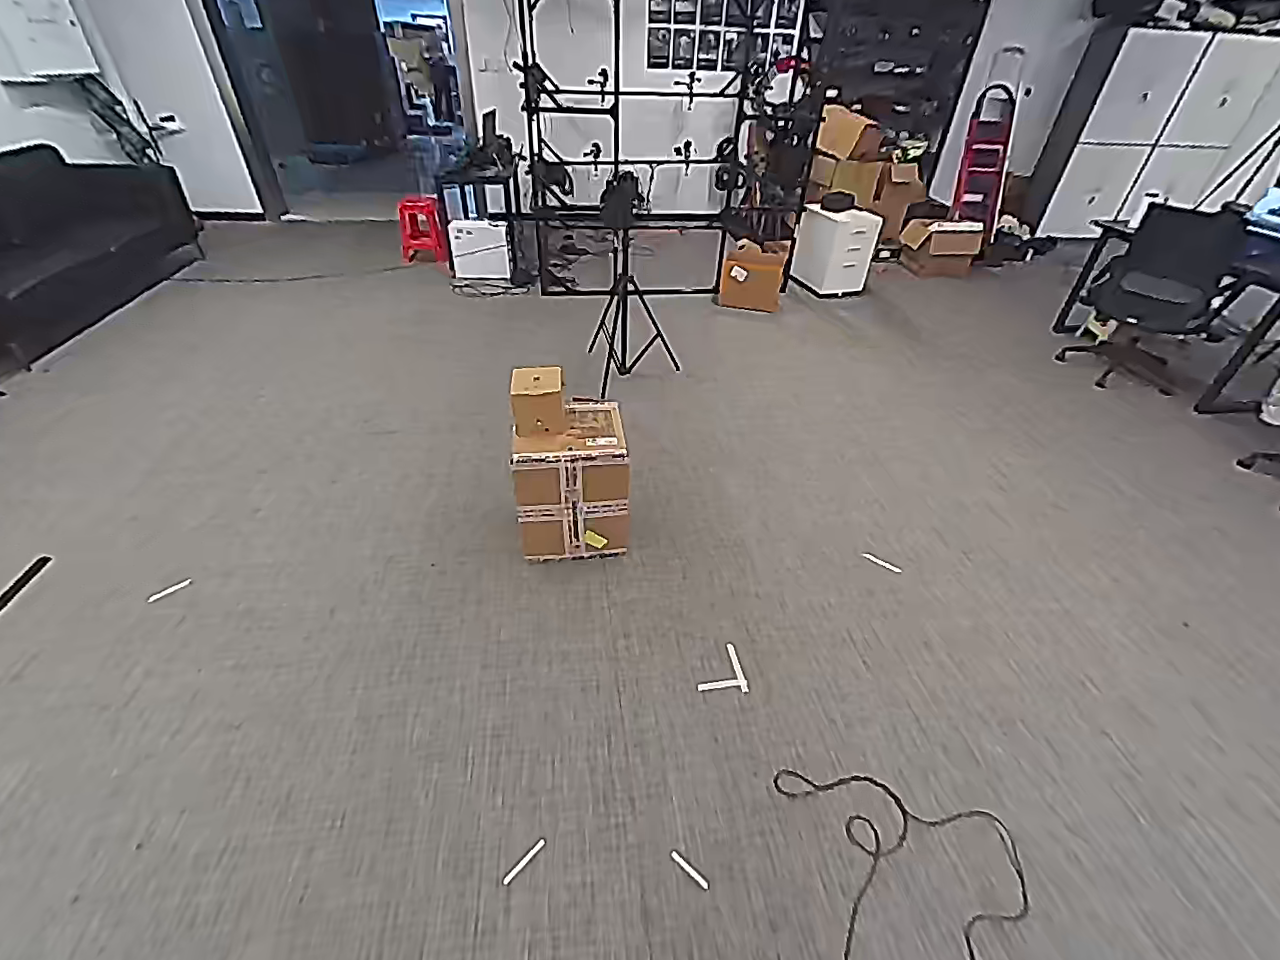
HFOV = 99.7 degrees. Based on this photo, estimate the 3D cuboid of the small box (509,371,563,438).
[{"bbox_3d":[-0.358,-0.264,1.887,0.168,0.176,0.179,-4,41,-6],"label":"small box"}]
